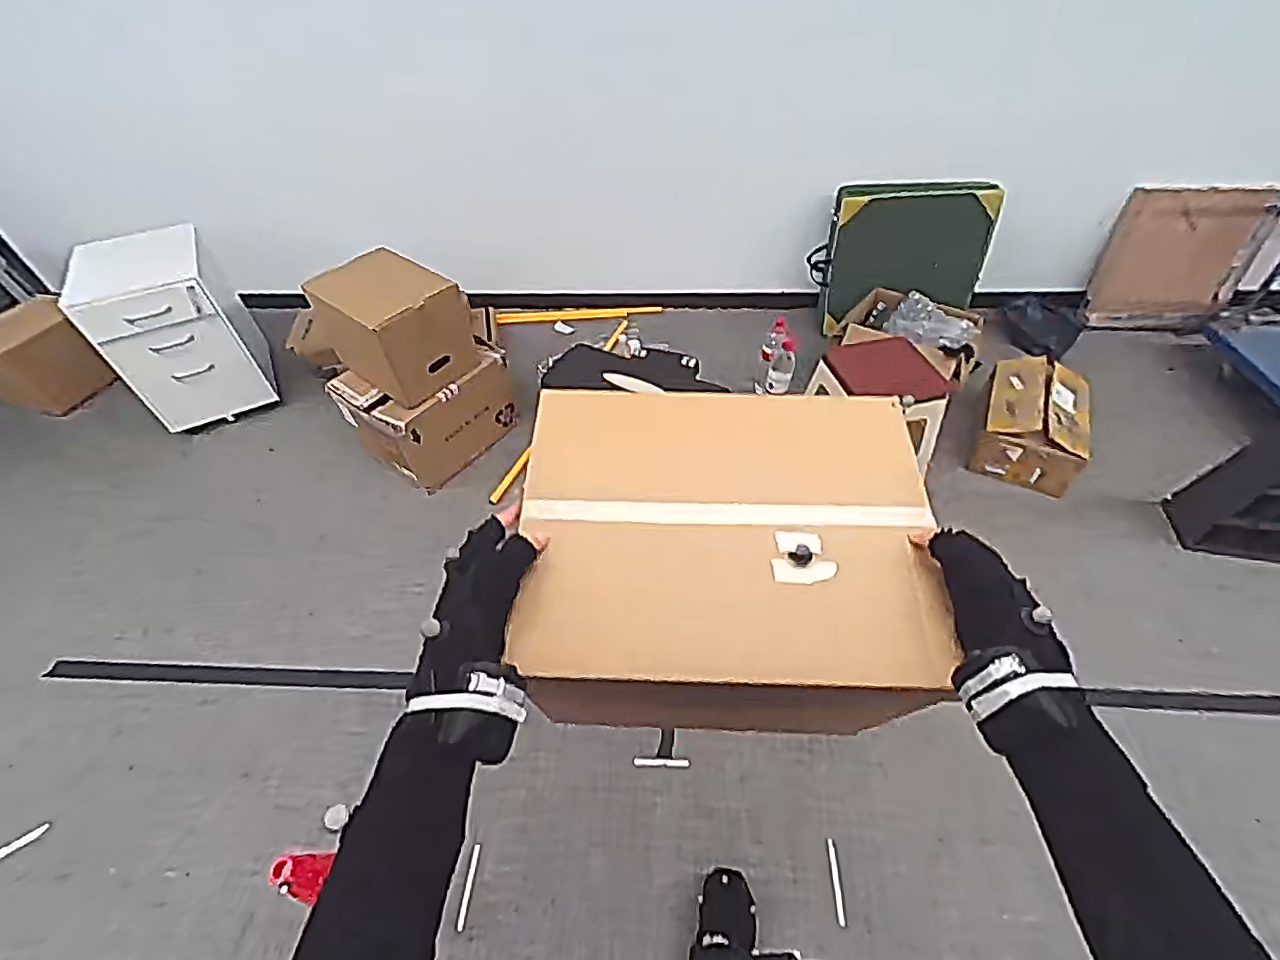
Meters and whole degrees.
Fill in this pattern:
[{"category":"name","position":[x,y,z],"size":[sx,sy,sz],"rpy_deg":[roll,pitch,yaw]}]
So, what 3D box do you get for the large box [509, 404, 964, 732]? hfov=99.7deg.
[{"category":"large box","position":[0.083,0.123,0.669],"size":[0.408,0.320,0.320],"rpy_deg":[1,58,1]}]
